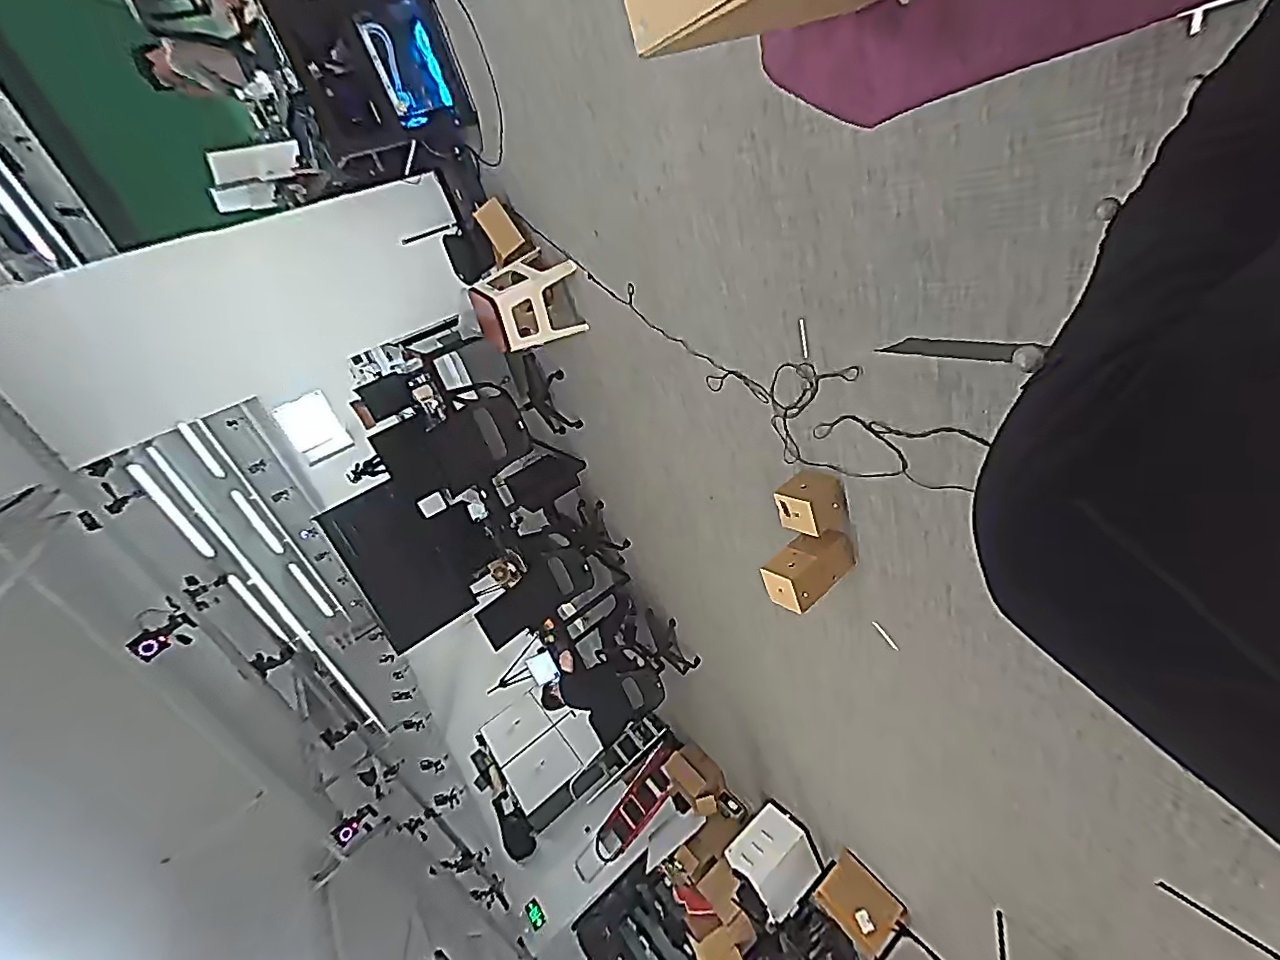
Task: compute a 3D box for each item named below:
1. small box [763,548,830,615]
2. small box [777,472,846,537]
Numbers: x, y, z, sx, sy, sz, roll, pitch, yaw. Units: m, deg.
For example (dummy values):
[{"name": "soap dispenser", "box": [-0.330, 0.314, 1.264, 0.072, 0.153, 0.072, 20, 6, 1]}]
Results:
[{"name": "small box", "box": [0.625, 0.395, 2.147, 0.168, 0.176, 0.179, 15, 134, 57]}, {"name": "small box", "box": [0.663, 0.088, 2.088, 0.179, 0.176, 0.168, 19, 137, 54]}]
